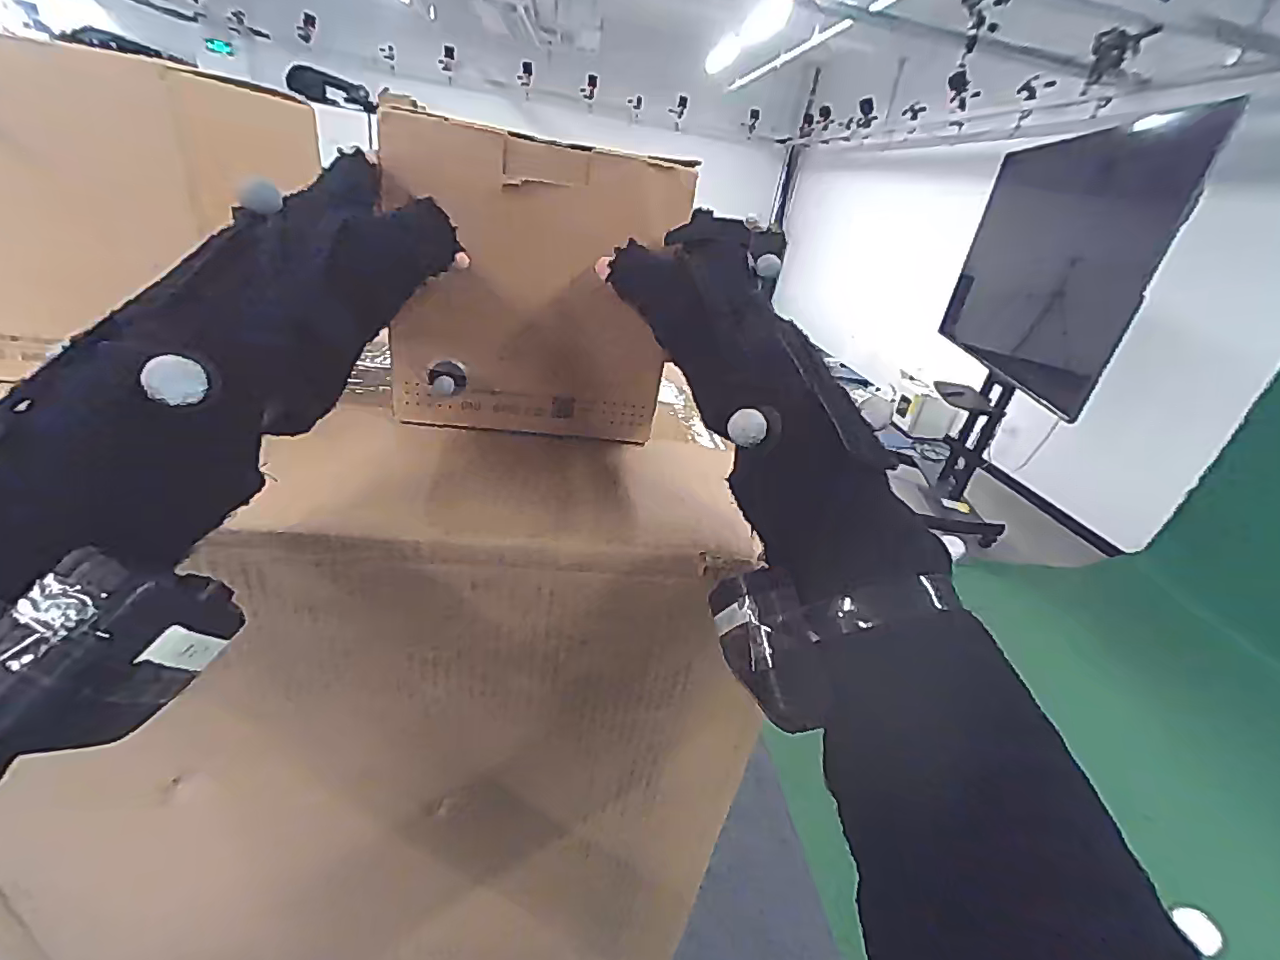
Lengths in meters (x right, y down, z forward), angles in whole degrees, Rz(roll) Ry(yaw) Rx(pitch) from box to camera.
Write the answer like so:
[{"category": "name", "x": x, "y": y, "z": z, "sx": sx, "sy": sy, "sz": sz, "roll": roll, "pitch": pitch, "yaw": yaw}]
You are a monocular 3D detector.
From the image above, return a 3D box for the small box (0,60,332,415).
[{"category": "small box", "x": -0.322, "y": -0.154, "z": 0.351, "sx": 0.168, "sy": 0.176, "sz": 0.179, "roll": 2, "pitch": 28, "yaw": -8}]

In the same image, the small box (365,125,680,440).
[{"category": "small box", "x": -0.077, "y": -0.138, "z": 0.389, "sx": 0.168, "sy": 0.176, "sz": 0.179, "roll": 3, "pitch": 28, "yaw": -11}]
